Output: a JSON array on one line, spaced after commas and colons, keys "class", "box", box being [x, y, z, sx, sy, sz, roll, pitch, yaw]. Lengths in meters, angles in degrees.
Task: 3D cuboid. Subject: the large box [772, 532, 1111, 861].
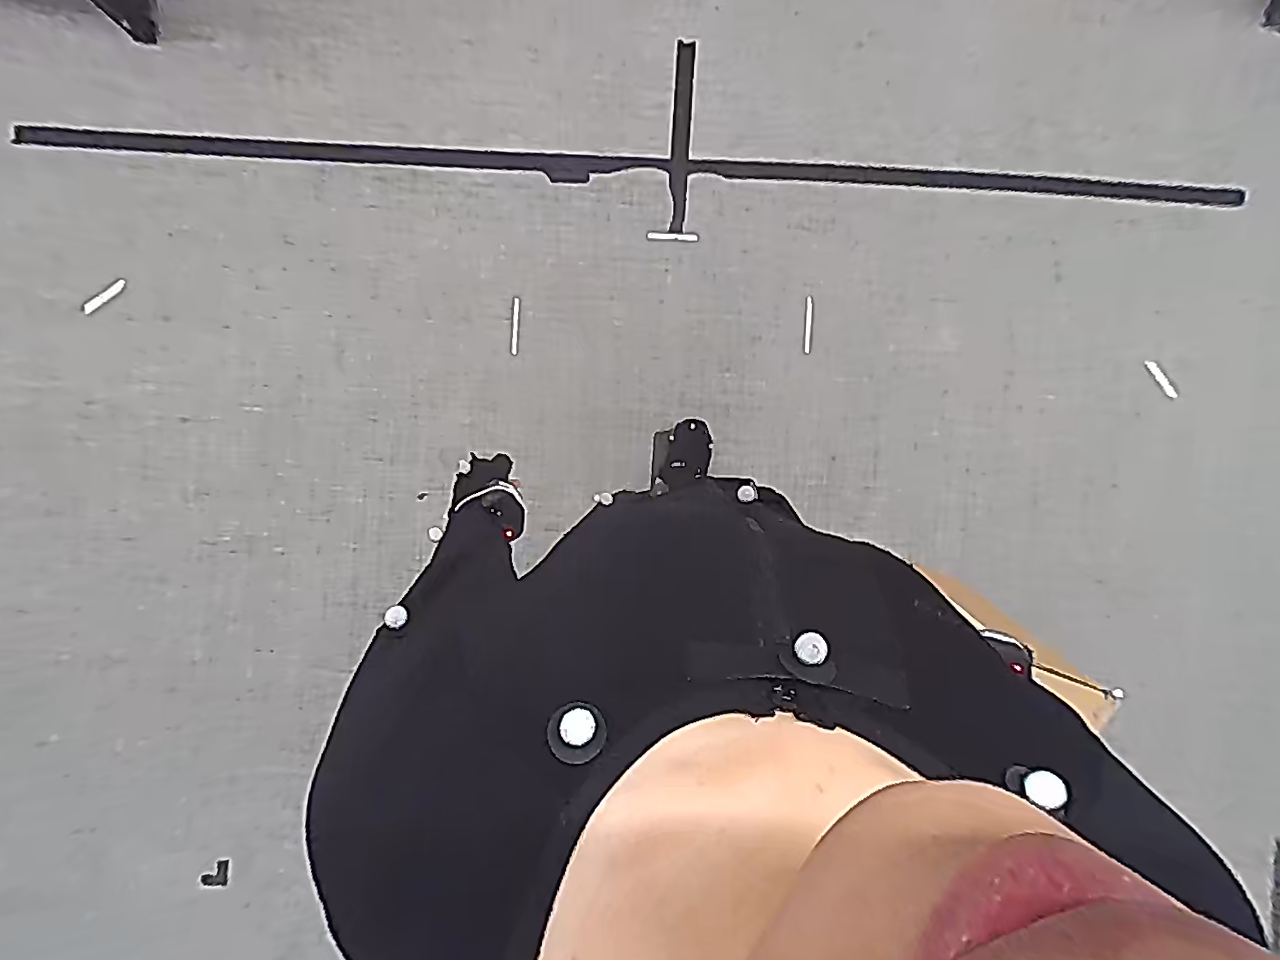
[{"class": "large box", "box": [0.460, 0.337, 0.954, 0.320, 0.408, 0.320, 19, 103, 1]}]
